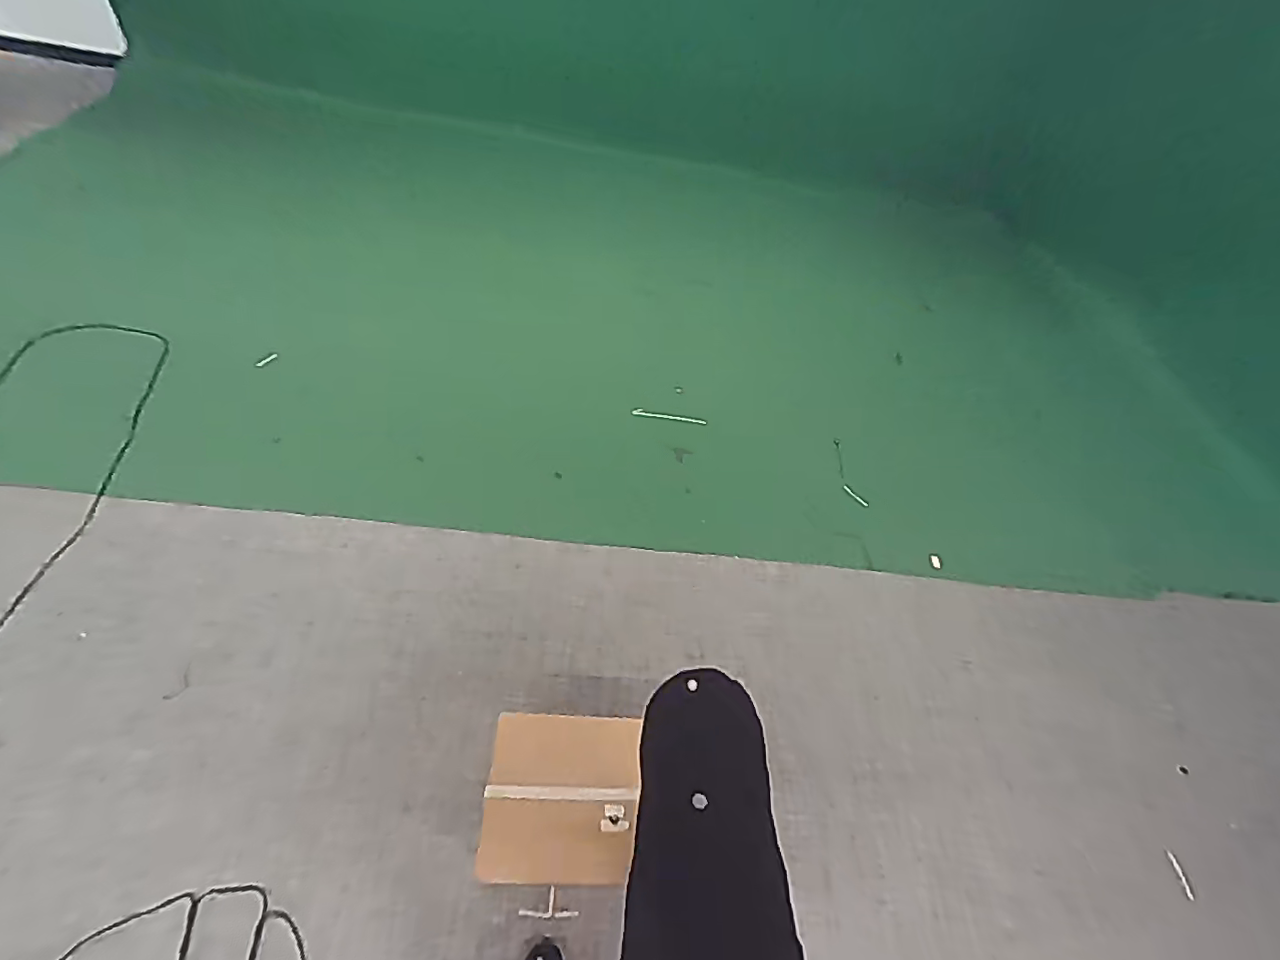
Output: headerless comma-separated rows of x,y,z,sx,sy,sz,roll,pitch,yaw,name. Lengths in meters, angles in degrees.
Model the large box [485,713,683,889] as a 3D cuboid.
-0.136,0.761,1.276,0.408,0.320,0.320,5,51,-8,large box
